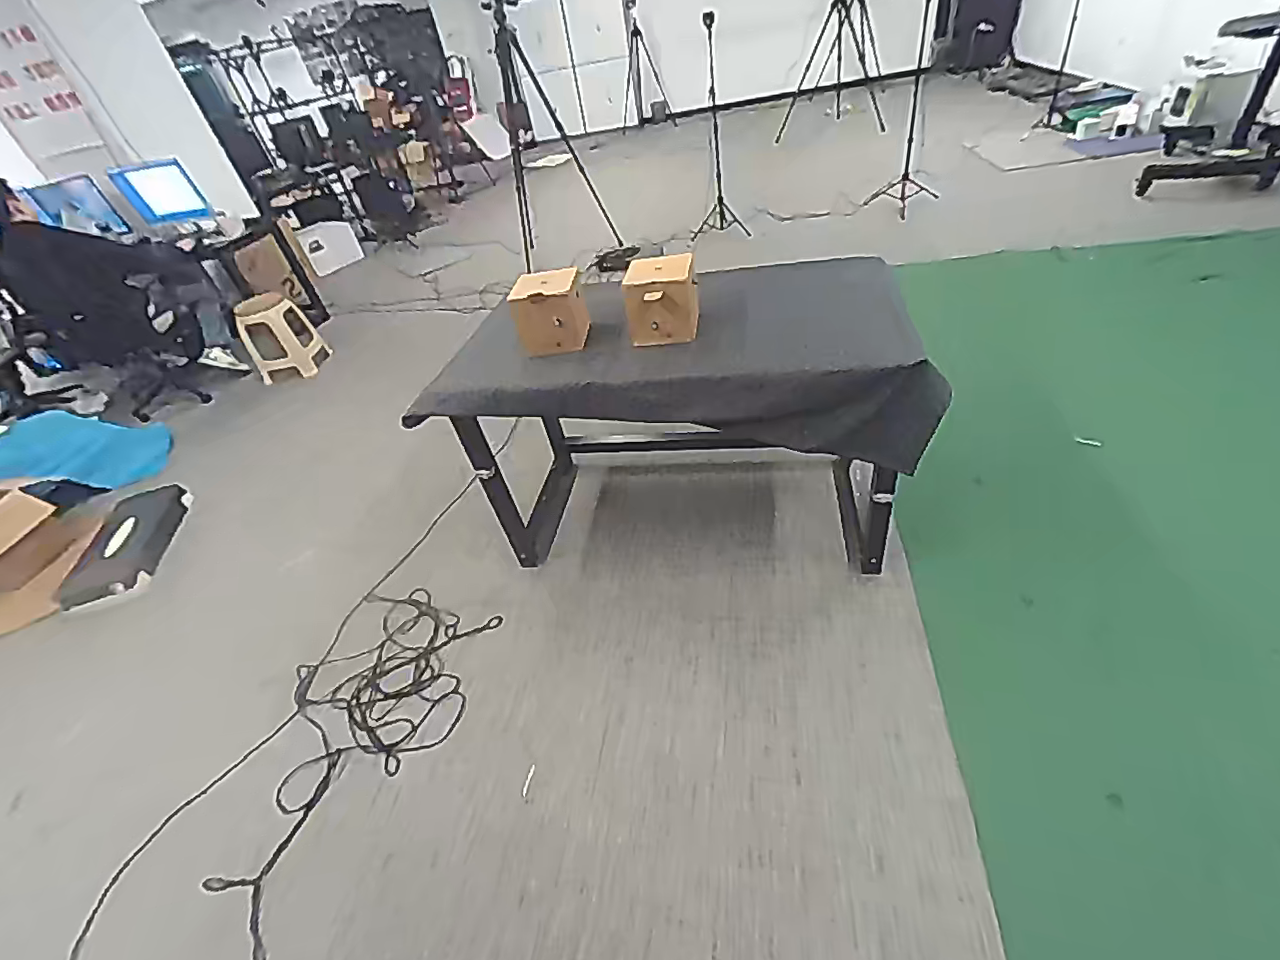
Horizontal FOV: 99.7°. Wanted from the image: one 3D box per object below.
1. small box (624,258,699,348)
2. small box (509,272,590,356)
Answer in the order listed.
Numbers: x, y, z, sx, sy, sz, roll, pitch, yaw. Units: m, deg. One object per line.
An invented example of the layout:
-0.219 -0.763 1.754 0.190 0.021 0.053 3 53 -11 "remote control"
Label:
0.063 -0.464 1.421 0.168 0.176 0.179 -1 41 13 "small box"
-0.239 -0.450 1.482 0.168 0.176 0.179 -4 39 7 "small box"
